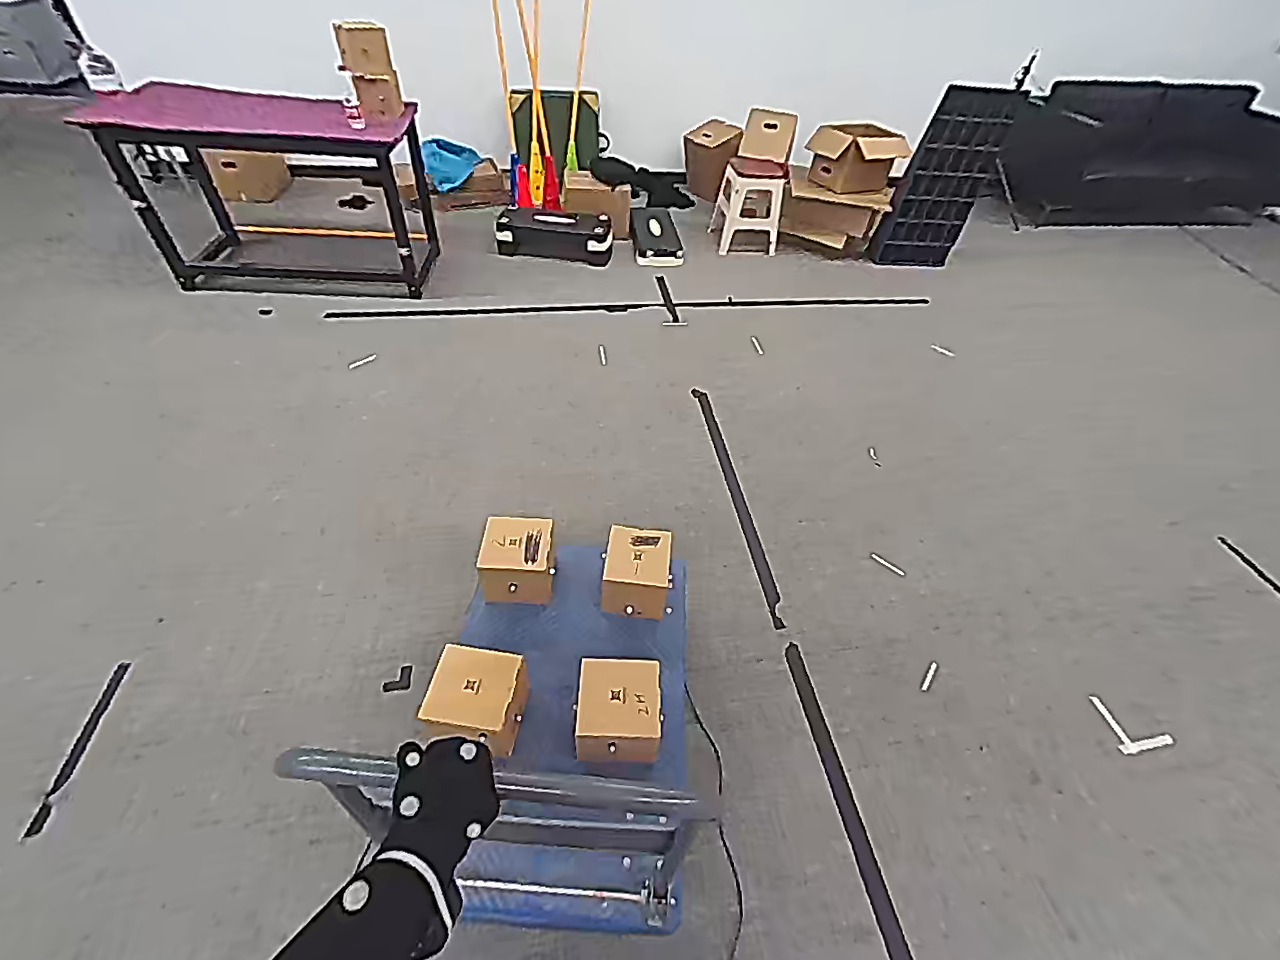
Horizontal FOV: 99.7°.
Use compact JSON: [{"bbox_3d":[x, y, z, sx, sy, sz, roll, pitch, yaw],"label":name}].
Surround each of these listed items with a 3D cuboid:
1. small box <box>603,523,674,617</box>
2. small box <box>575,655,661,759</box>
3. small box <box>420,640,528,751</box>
[{"bbox_3d":[-0.006,0.244,1.456,0.168,0.176,0.179,7,47,1],"label":"small box"},{"bbox_3d":[-0.048,0.507,1.202,0.179,0.176,0.168,4,47,-2],"label":"small box"},{"bbox_3d":[-0.356,0.480,1.197,0.179,0.176,0.168,9,46,1],"label":"small box"}]
